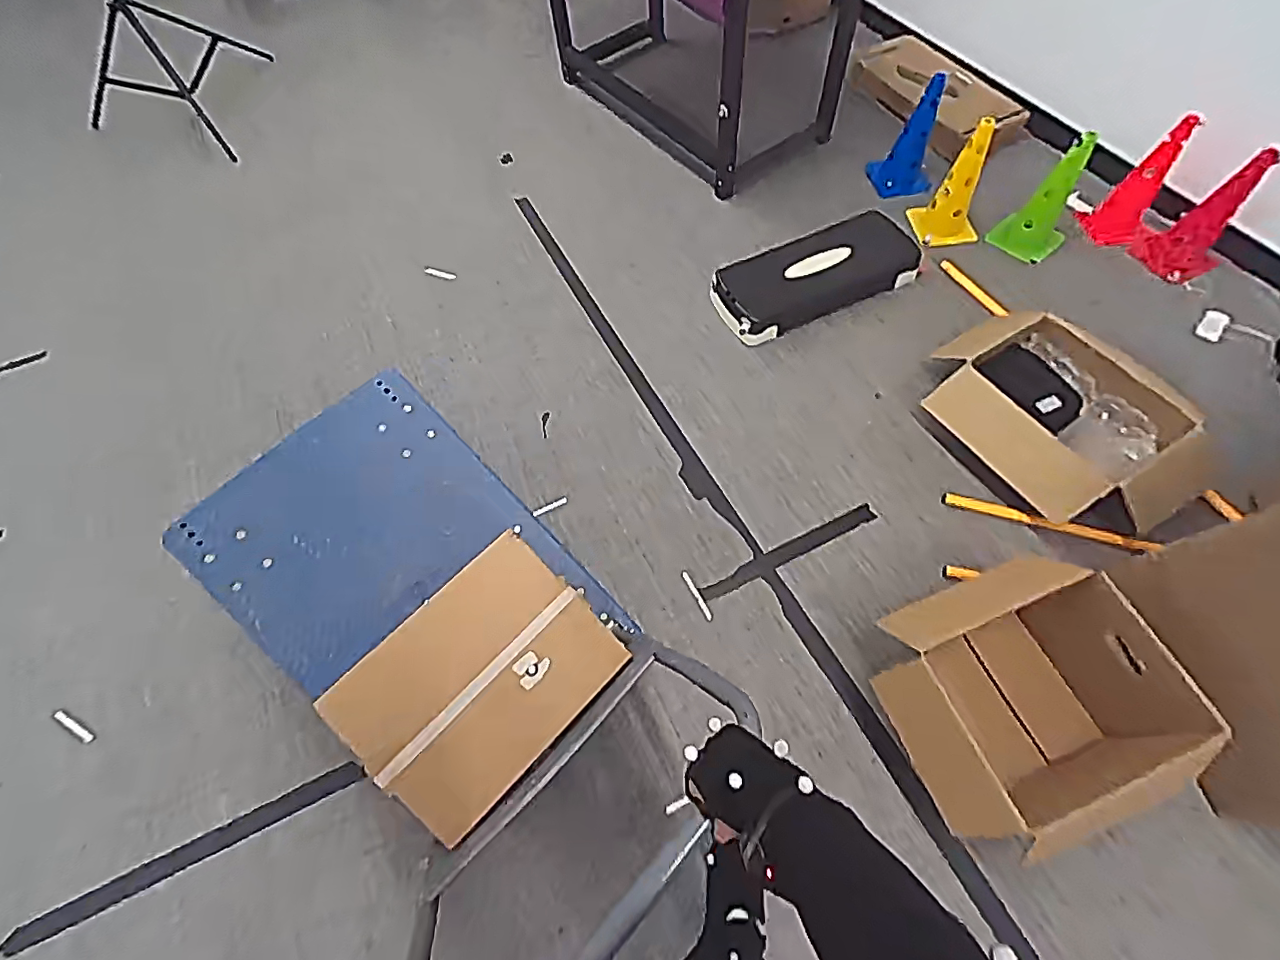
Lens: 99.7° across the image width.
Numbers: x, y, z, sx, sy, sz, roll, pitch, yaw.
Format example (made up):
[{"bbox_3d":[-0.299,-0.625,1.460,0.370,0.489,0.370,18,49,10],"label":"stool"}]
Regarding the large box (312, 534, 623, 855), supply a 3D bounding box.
[{"bbox_3d":[-0.298,0.366,1.021,0.320,0.320,0.408,46,72,-1],"label":"large box"}]
